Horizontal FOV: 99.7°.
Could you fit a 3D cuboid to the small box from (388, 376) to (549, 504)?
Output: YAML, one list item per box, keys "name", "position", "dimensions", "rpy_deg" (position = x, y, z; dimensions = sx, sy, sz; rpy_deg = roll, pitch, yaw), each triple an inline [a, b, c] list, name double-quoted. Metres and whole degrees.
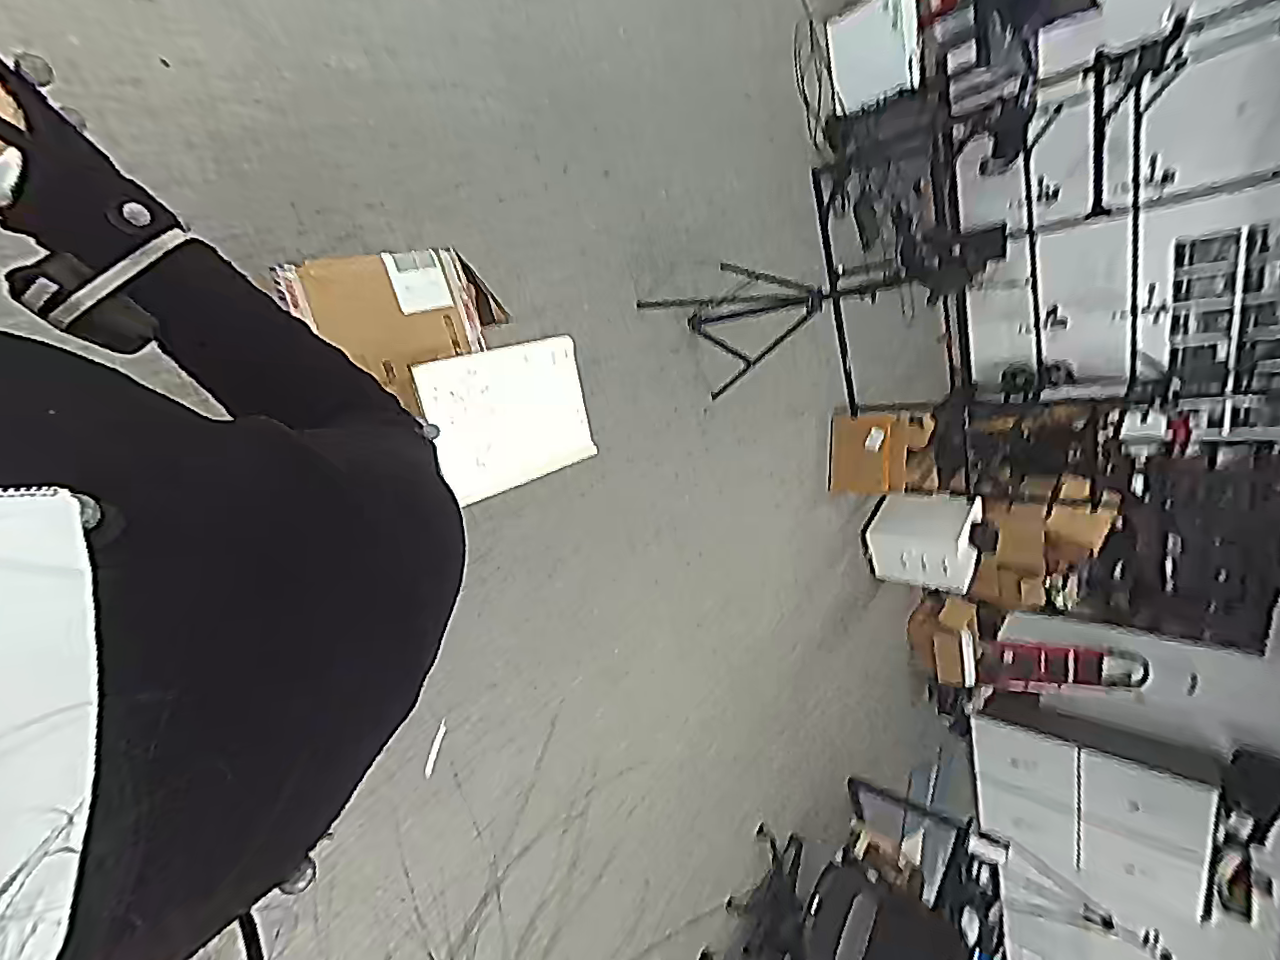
- name: "small box"
  position: [-0.281, -0.075, 0.892]
  dimensions: [0.179, 0.176, 0.168]
  rpy_deg: [-25, 113, -40]
